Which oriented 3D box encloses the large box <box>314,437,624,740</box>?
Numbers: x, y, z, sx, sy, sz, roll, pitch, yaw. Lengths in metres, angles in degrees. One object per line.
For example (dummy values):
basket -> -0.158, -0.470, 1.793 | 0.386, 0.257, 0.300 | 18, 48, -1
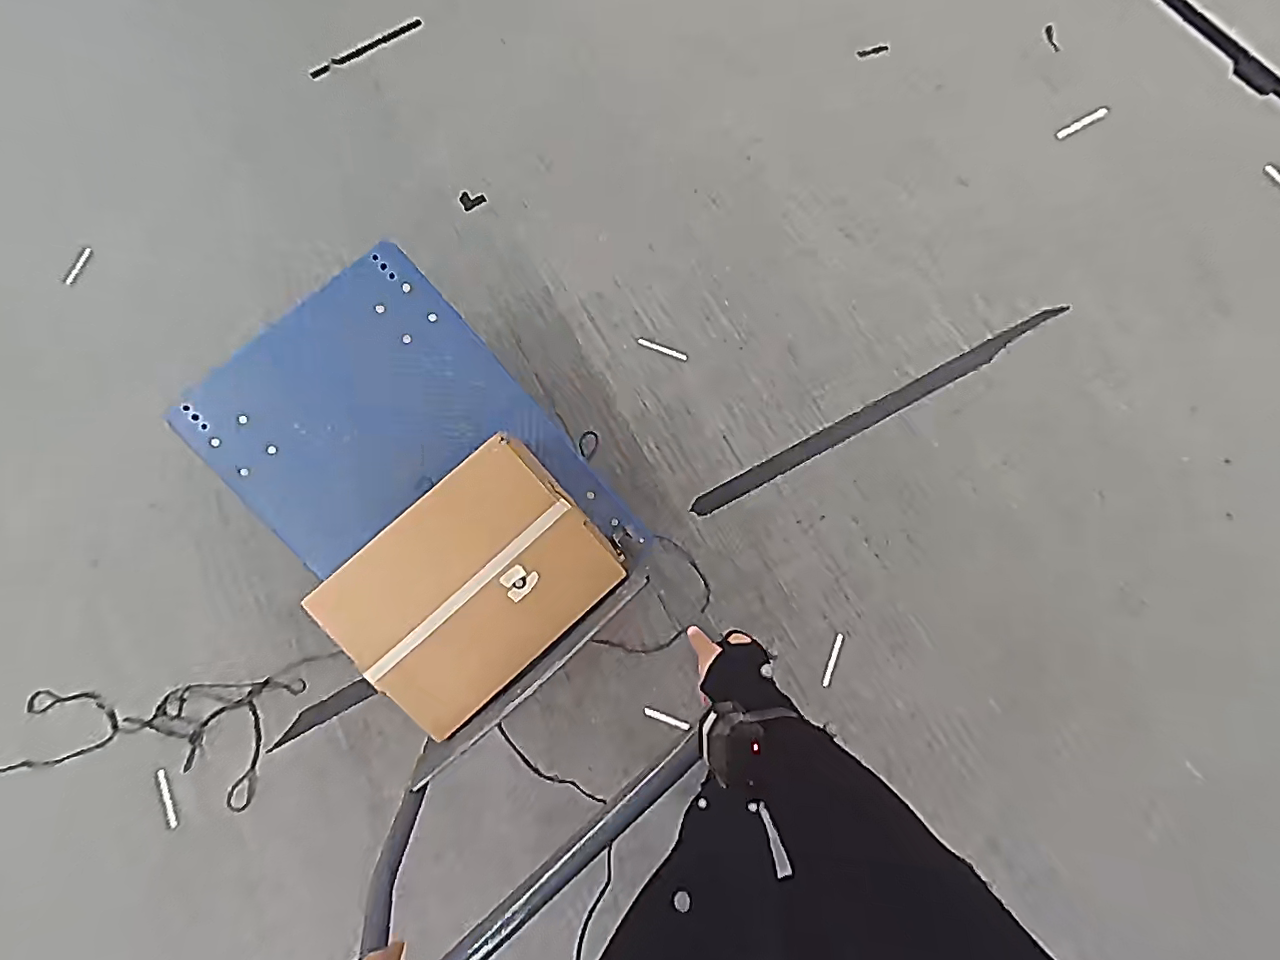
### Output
large box -> -0.288, 0.175, 1.018 | 0.408, 0.320, 0.320 | -43, 96, -6
